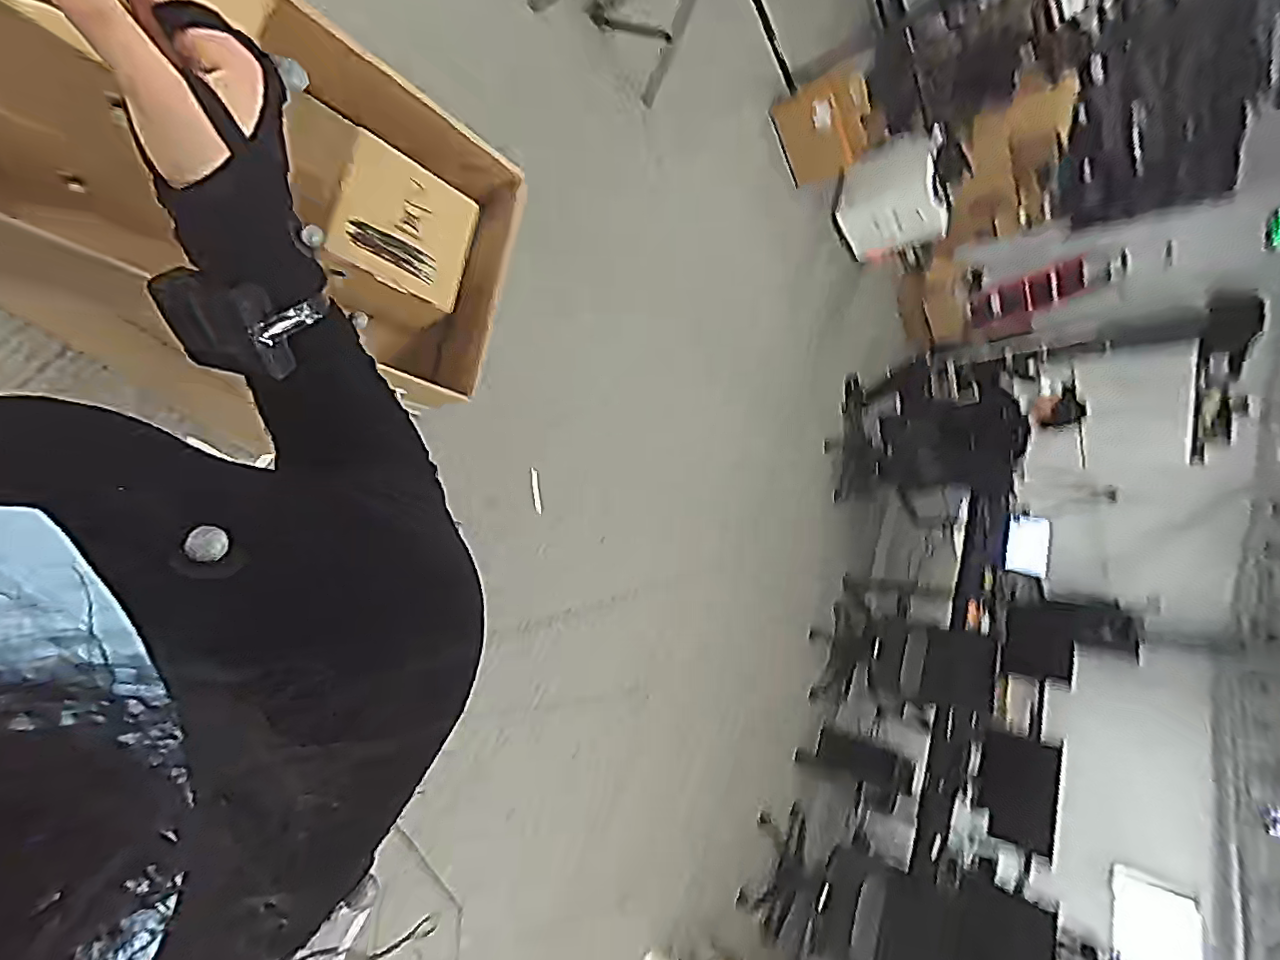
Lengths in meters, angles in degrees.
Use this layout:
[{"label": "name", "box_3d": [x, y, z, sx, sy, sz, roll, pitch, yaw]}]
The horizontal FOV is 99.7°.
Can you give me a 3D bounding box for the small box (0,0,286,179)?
[{"label": "small box", "box_3d": [-0.444, -0.391, 0.457, 0.179, 0.176, 0.168, 27, 71, -43]}]
